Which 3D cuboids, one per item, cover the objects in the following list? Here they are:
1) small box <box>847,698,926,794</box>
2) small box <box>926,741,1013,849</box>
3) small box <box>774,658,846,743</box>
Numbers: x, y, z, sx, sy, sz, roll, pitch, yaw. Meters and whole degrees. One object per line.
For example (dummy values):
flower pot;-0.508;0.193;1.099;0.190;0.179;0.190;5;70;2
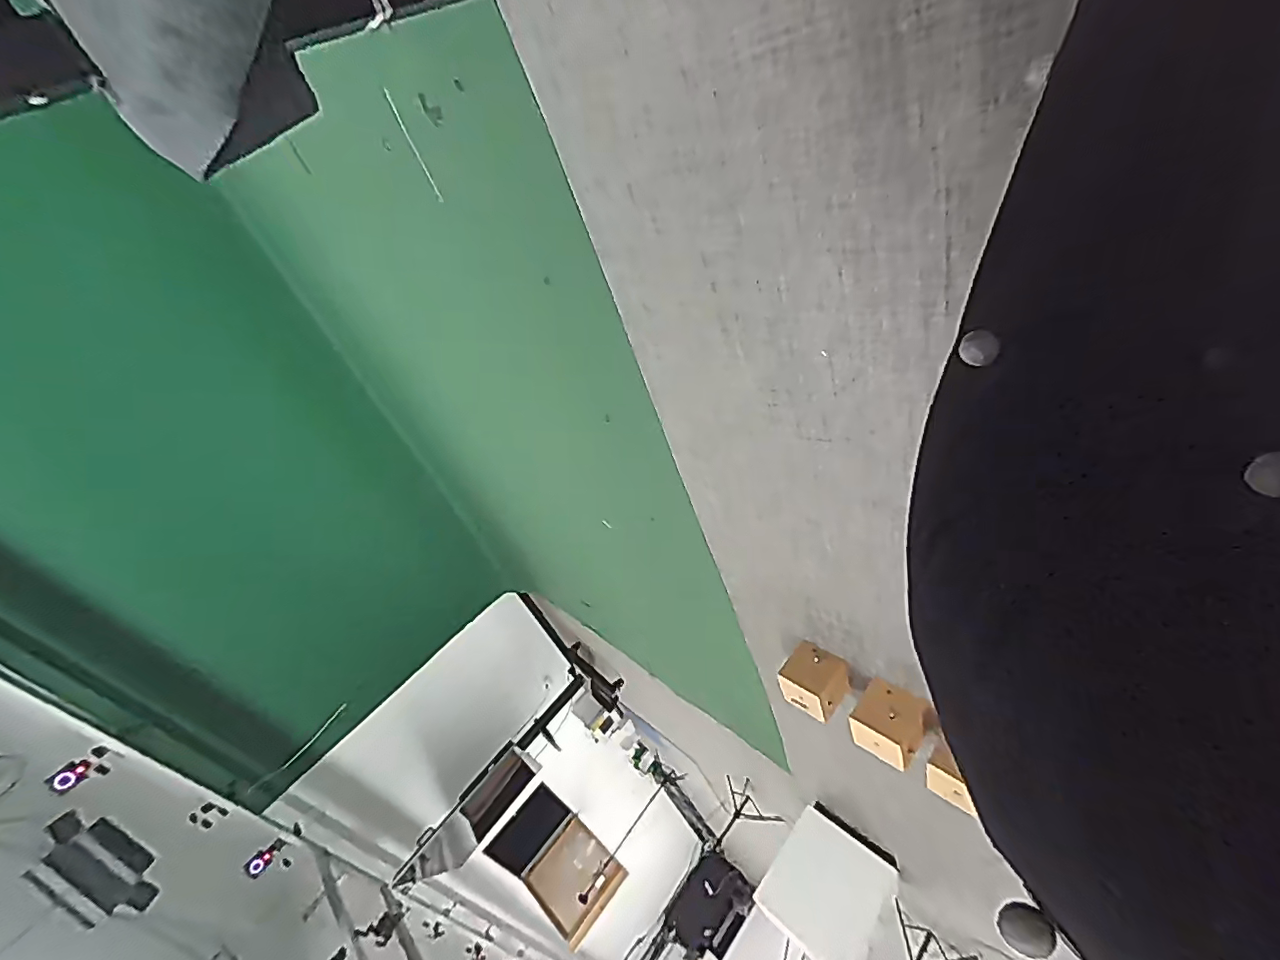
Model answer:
small box;0.772;0.822;1.687;0.168;0.176;0.179;19;141;46
small box;0.926;0.878;1.522;0.168;0.176;0.179;20;142;45
small box;0.593;0.756;1.869;0.168;0.176;0.179;19;140;45
